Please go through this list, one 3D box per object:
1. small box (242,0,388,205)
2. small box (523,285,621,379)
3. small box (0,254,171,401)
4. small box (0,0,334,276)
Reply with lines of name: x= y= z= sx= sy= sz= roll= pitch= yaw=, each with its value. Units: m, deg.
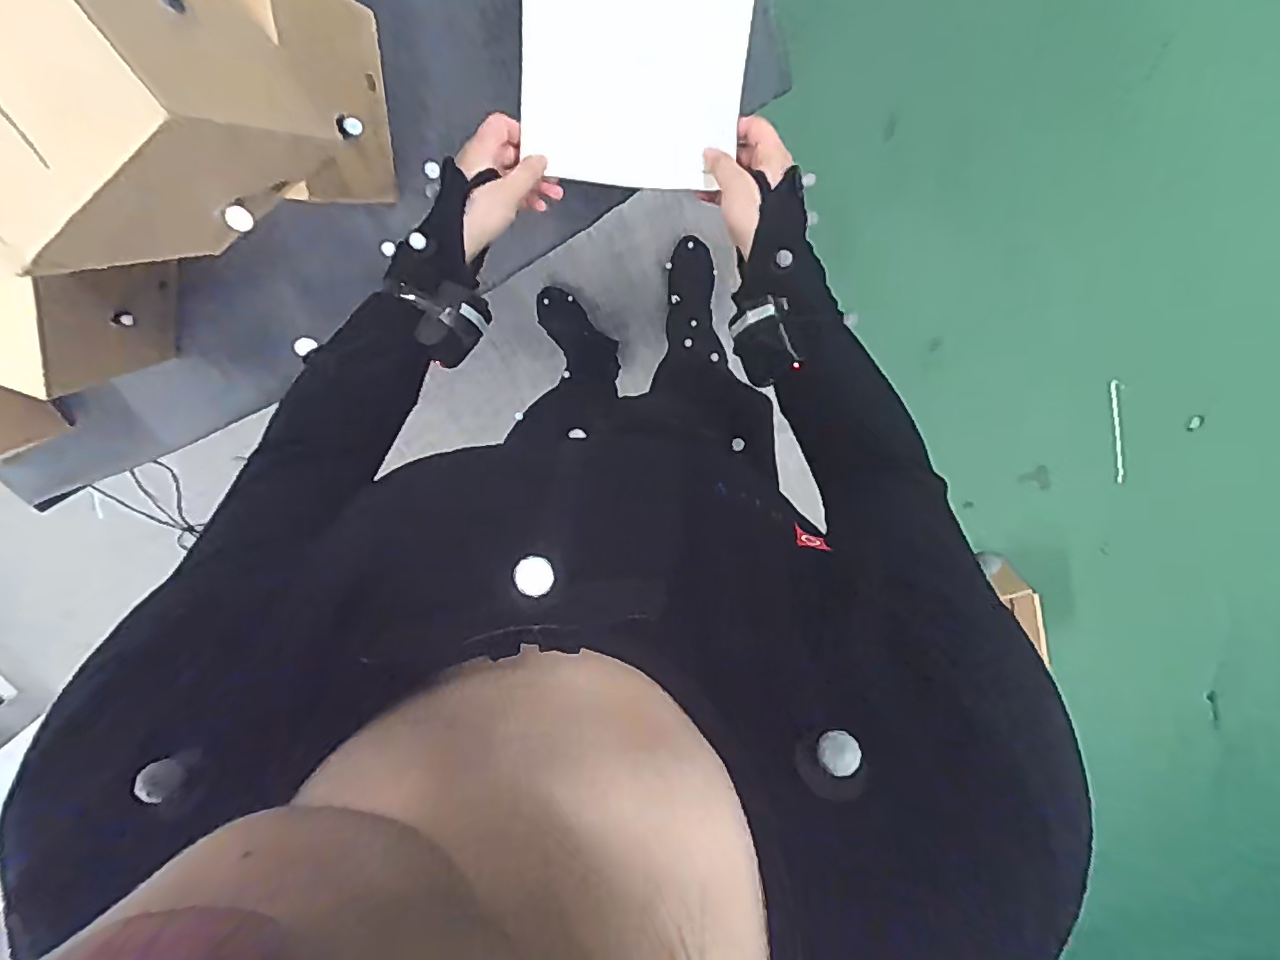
small box: x=-0.352 y=-0.349 z=0.490 sx=0.179 sy=0.176 sz=0.168 roll=5 pitch=118 yaw=2
small box: x=-0.161 y=-0.345 z=1.286 sx=0.176 sy=0.168 sz=0.179 roll=6 pitch=97 yaw=-32
small box: x=-0.655 y=-0.215 z=0.582 sx=0.179 sy=0.176 sz=0.168 roll=22 pitch=117 yaw=-8
small box: x=-0.354 y=-0.261 z=0.350 sx=0.168 sy=0.176 sz=0.179 roll=-26 pitch=113 yaw=18
